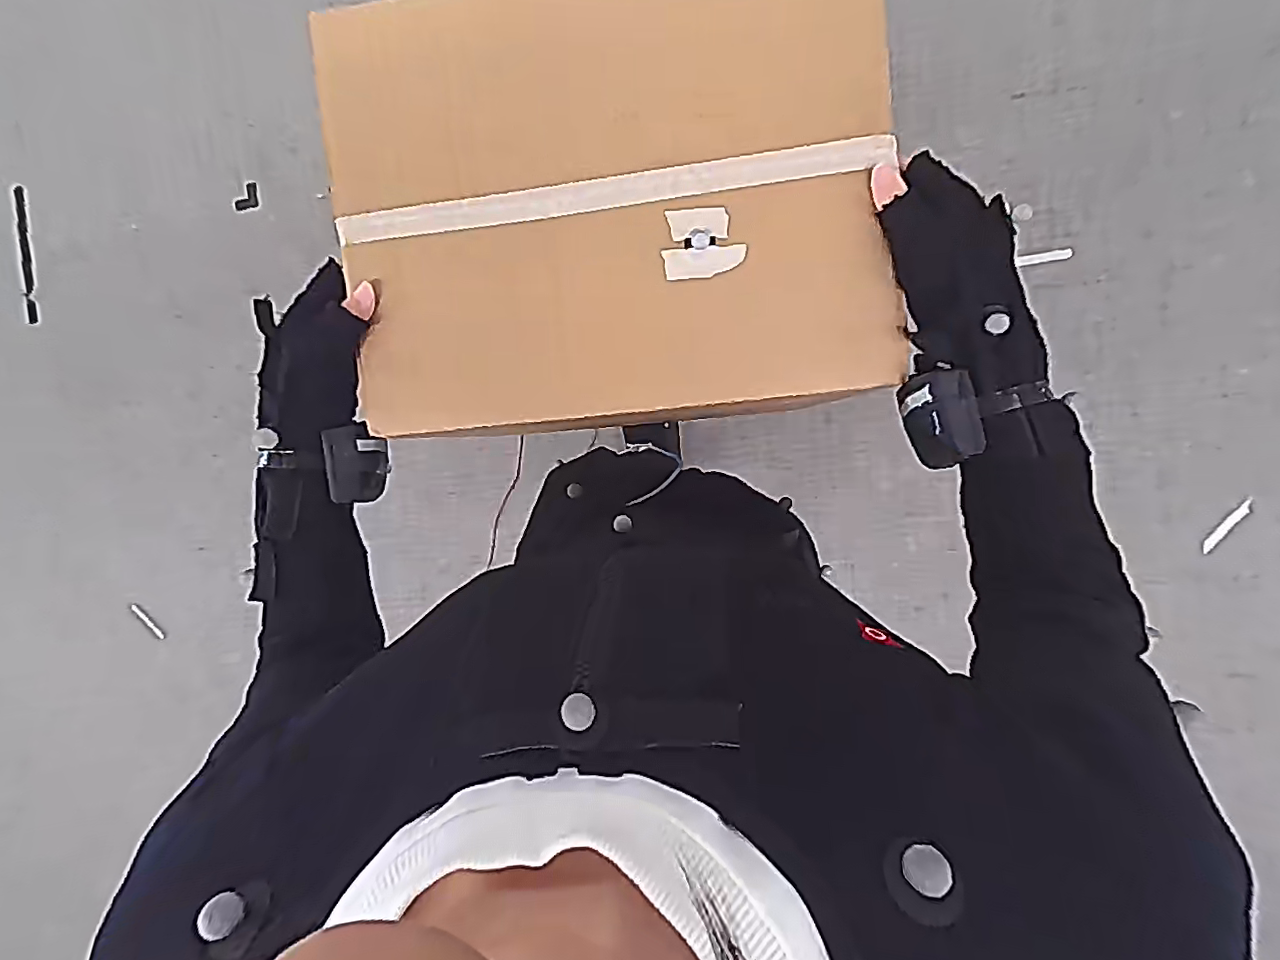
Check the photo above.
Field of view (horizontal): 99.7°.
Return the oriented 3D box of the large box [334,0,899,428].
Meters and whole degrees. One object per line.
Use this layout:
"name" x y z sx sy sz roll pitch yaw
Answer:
"large box" -0.011 -0.229 0.550 0.408 0.320 0.320 -5 95 5
